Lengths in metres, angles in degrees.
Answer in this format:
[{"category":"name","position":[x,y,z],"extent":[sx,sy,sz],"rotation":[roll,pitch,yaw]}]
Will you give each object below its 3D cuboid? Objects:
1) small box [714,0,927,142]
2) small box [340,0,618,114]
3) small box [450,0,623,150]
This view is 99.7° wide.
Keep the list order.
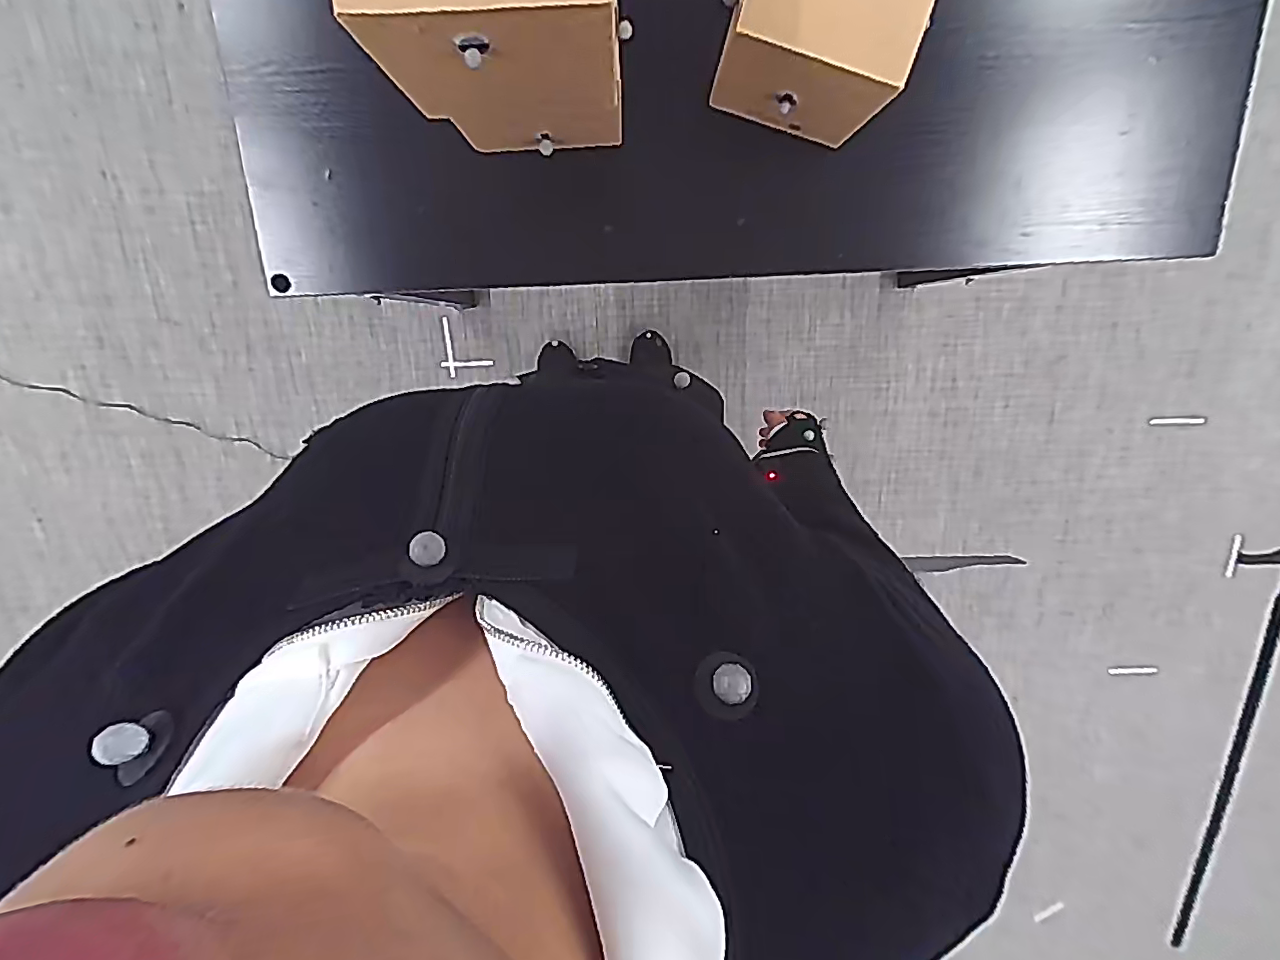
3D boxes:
[{"category":"small box","position":[0.183,-0.485,0.557],"extent":[0.168,0.176,0.179],"rotation":[15,104,-6]},{"category":"small box","position":[-0.108,-0.397,0.403],"extent":[0.179,0.176,0.168],"rotation":[-3,105,-1]},{"category":"small box","position":[-0.111,-0.459,0.557],"extent":[0.179,0.176,0.168],"rotation":[-3,105,-1]}]
